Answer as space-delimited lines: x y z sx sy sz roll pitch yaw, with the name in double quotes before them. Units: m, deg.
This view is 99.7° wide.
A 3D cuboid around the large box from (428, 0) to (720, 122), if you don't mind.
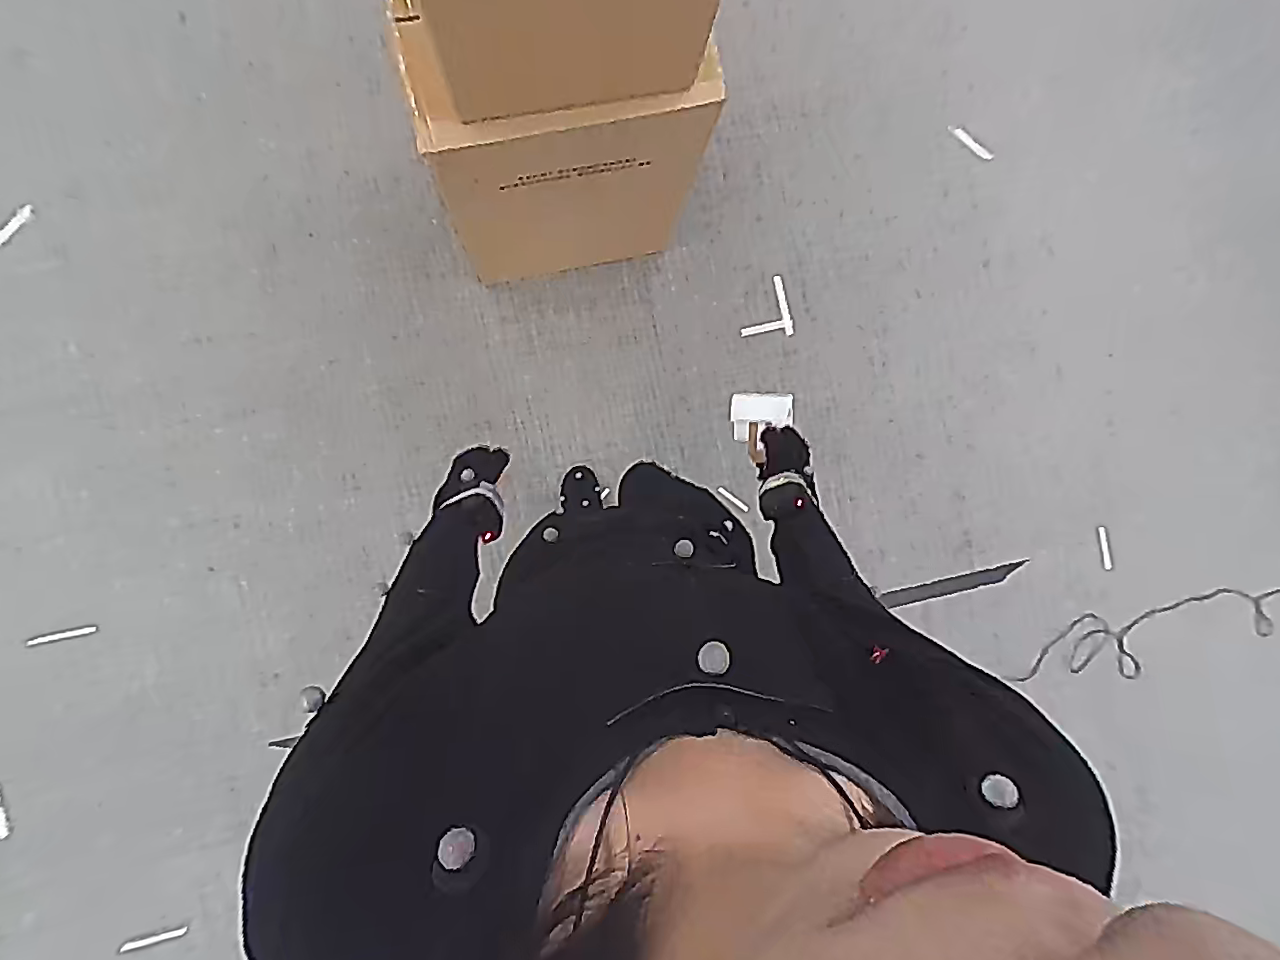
"large box" -0.113 -0.774 0.751 0.408 0.320 0.320 -14 92 -7
